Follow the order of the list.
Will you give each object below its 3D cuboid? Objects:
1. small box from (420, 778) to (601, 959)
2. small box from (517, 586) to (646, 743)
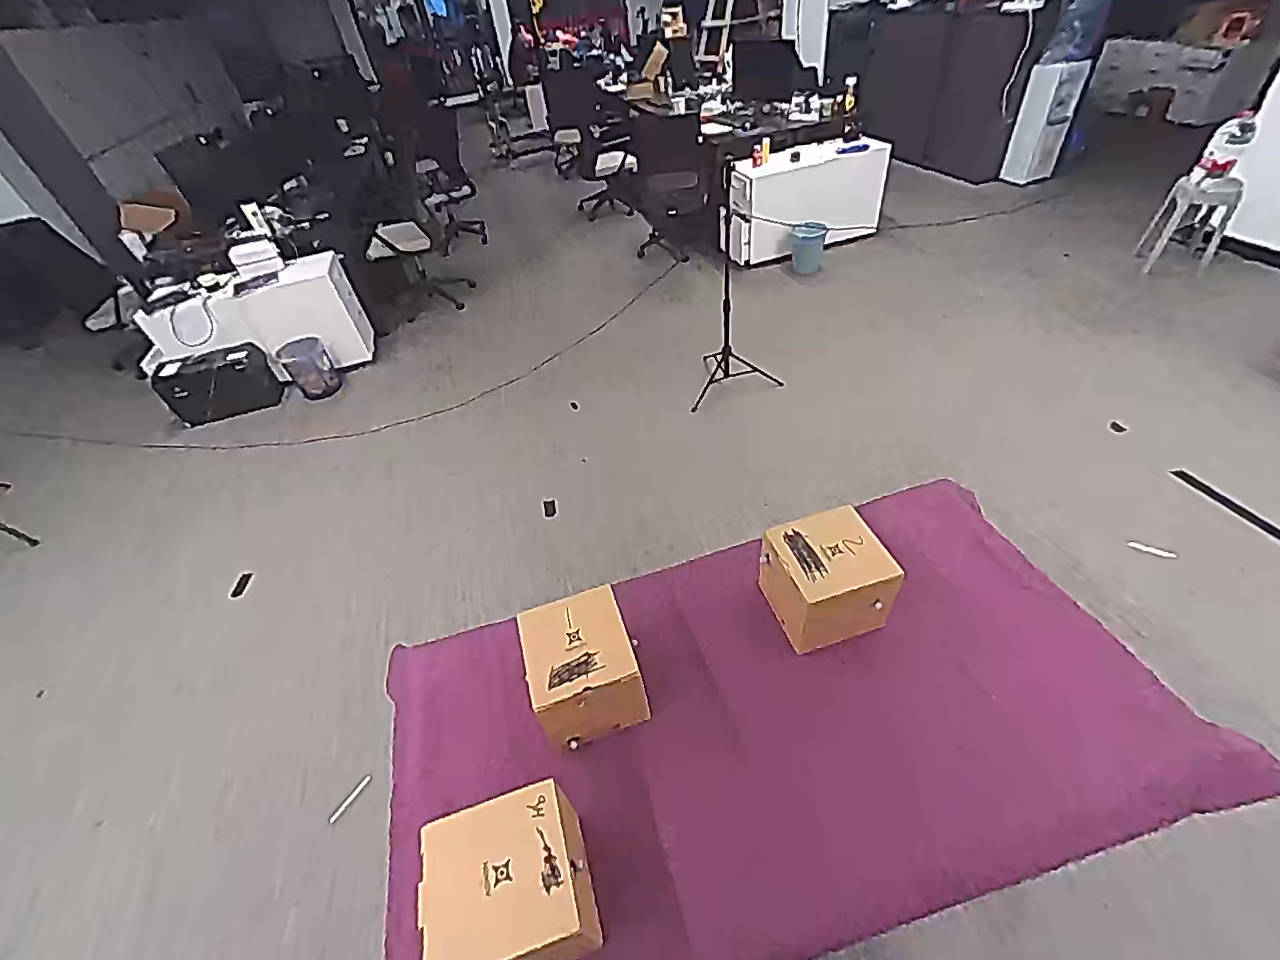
[{"bbox_3d":[-0.163,0.524,0.697,0.179,0.176,0.168,-17,44,-7],"label":"small box"},{"bbox_3d":[-0.095,0.315,0.909,0.168,0.176,0.179,-17,44,-9],"label":"small box"}]
